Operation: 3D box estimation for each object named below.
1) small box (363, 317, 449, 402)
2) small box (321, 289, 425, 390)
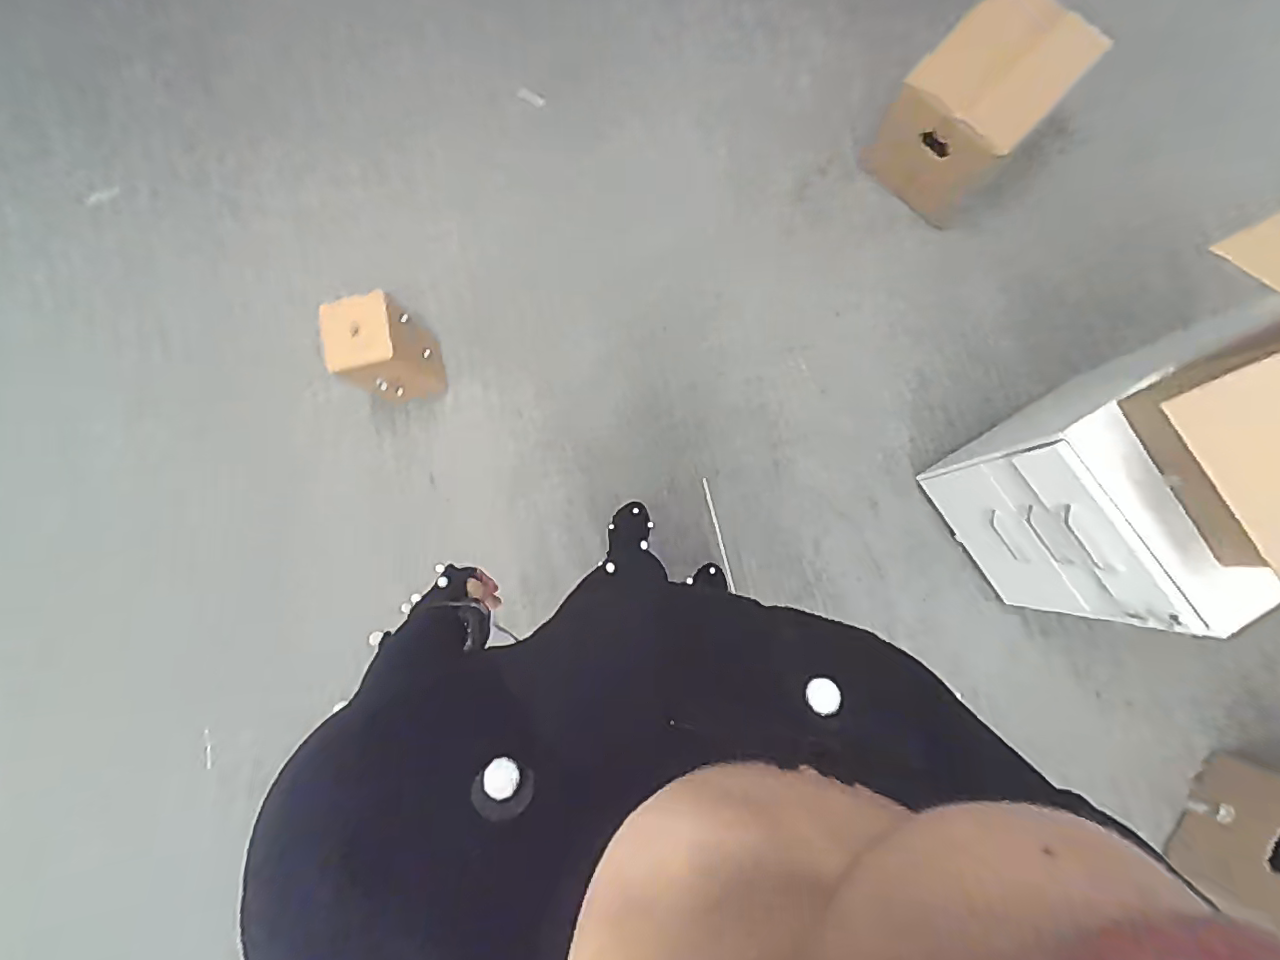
[{"bbox_3d":[-0.667,-0.333,1.529,0.179,0.176,0.168,-13,81,1],"label":"small box"},{"bbox_3d":[-0.667,-0.348,1.366,0.168,0.176,0.179,-13,82,2],"label":"small box"}]
